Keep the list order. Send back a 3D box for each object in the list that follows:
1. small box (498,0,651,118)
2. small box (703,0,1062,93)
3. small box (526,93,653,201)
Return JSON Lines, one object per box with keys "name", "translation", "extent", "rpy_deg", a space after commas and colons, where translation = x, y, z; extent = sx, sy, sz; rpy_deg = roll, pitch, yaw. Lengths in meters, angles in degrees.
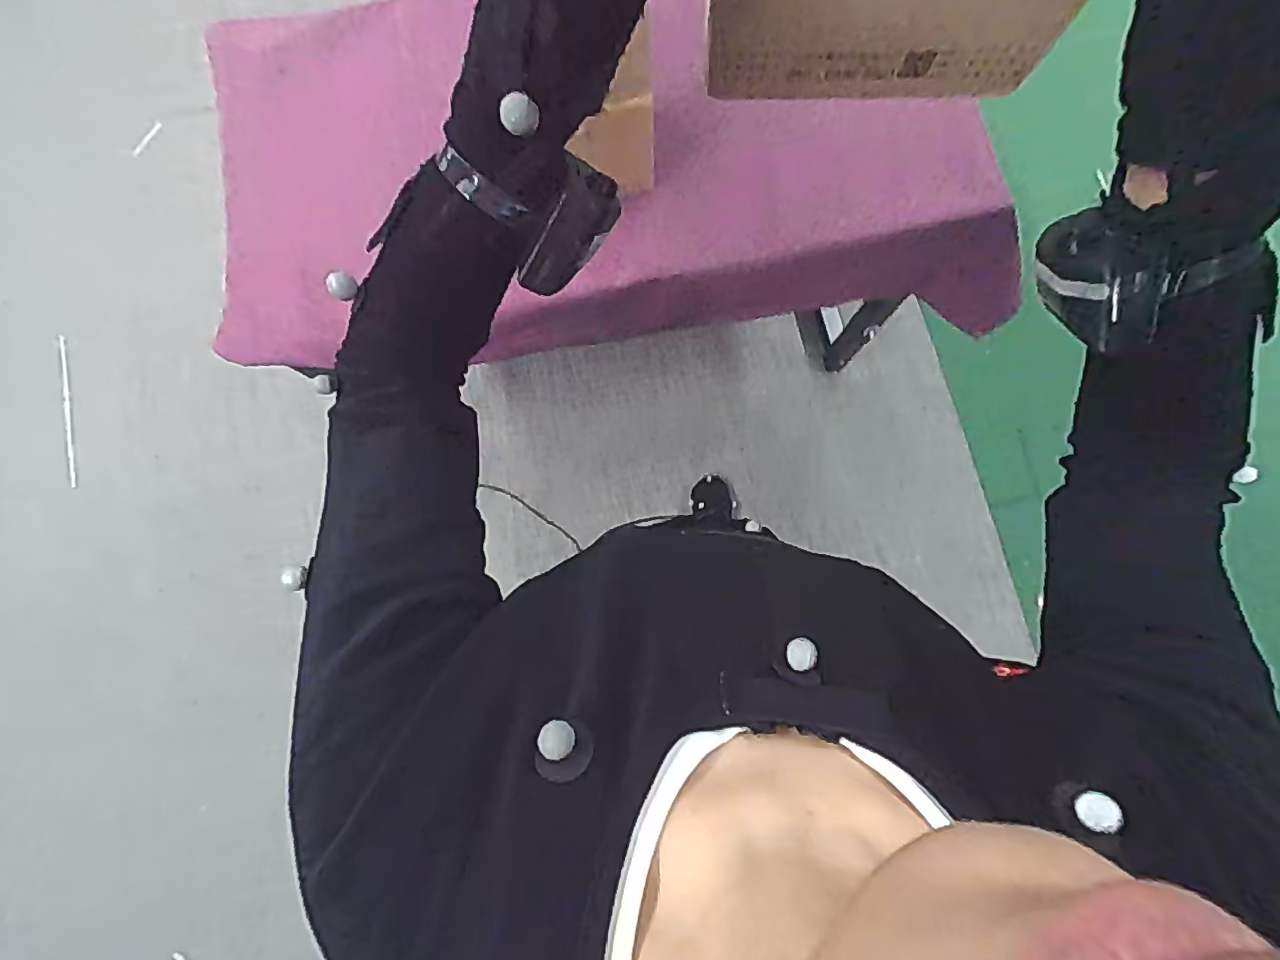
{"name": "small box", "translation": [-0.082, -0.578, 0.638], "extent": [0.168, 0.176, 0.179], "rpy_deg": [-11, 80, 0]}
{"name": "small box", "translation": [0.114, -0.309, 0.227], "extent": [0.168, 0.176, 0.179], "rpy_deg": [1, 81, 3]}
{"name": "small box", "translation": [-0.074, -0.541, 0.797], "extent": [0.168, 0.176, 0.179], "rpy_deg": [-10, 79, 0]}
